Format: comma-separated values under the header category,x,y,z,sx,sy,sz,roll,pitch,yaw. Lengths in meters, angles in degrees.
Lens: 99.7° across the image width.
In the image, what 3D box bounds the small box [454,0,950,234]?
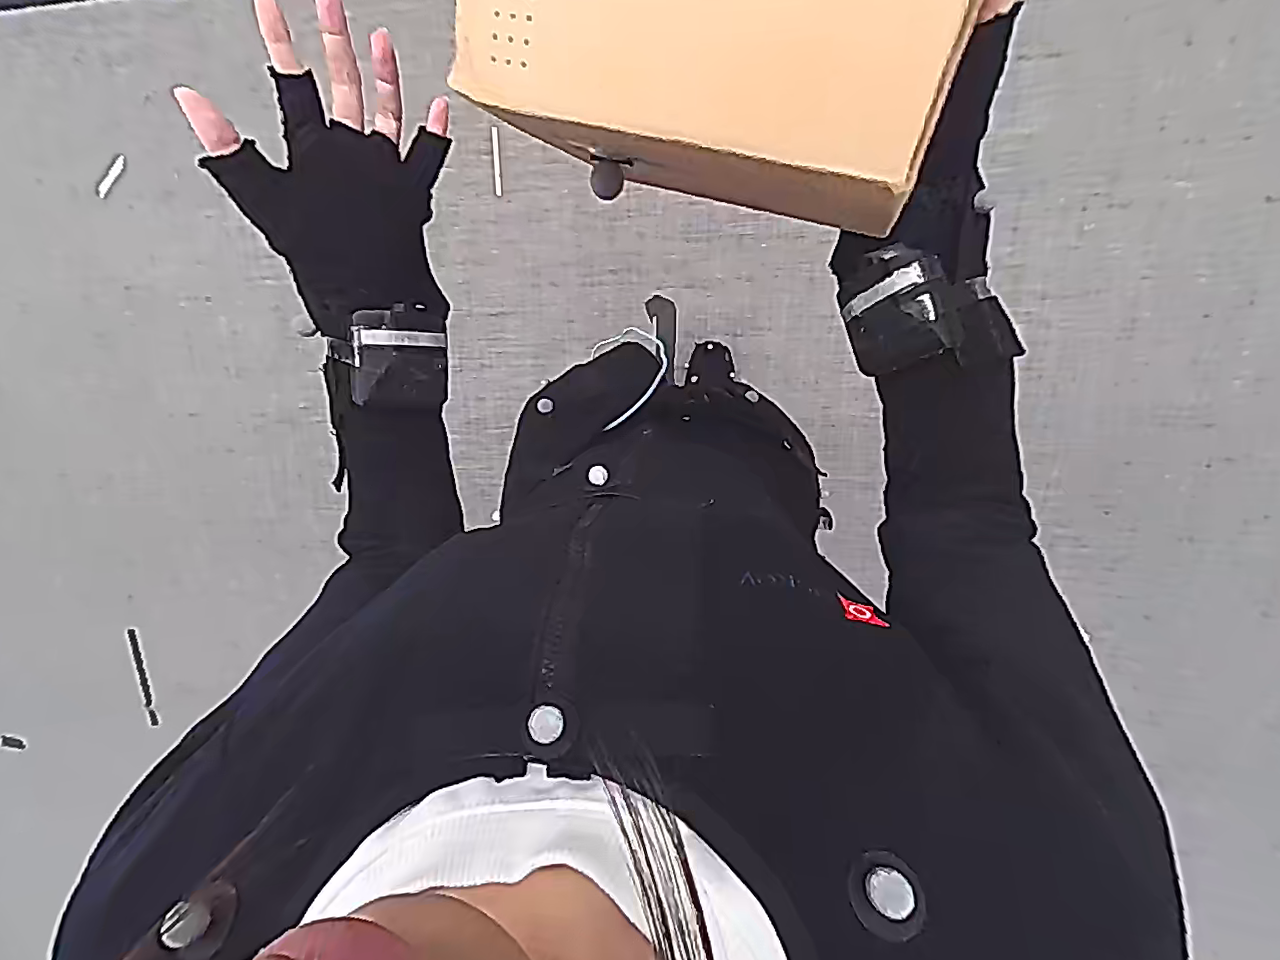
category,x,y,z,sx,sy,sz,roll,pitch,yaw
small box,0.044,-0.221,0.227,0.176,0.168,0.179,21,114,15
